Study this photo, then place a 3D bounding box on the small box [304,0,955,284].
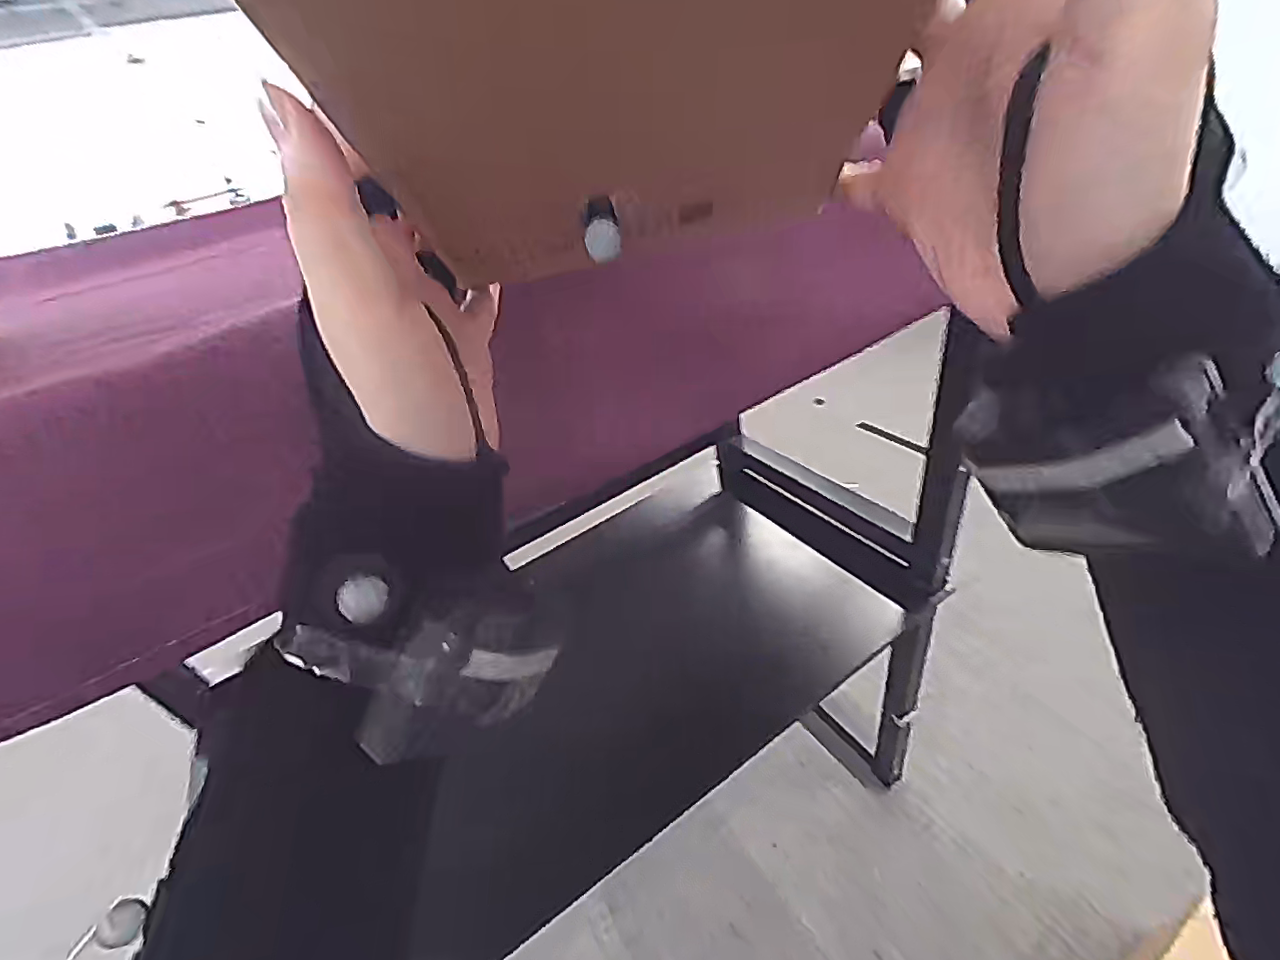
[{"bbox_3d":[-0.013,-0.191,0.167,0.168,0.179,0.176,-12,-4,-1],"label":"small box"}]
